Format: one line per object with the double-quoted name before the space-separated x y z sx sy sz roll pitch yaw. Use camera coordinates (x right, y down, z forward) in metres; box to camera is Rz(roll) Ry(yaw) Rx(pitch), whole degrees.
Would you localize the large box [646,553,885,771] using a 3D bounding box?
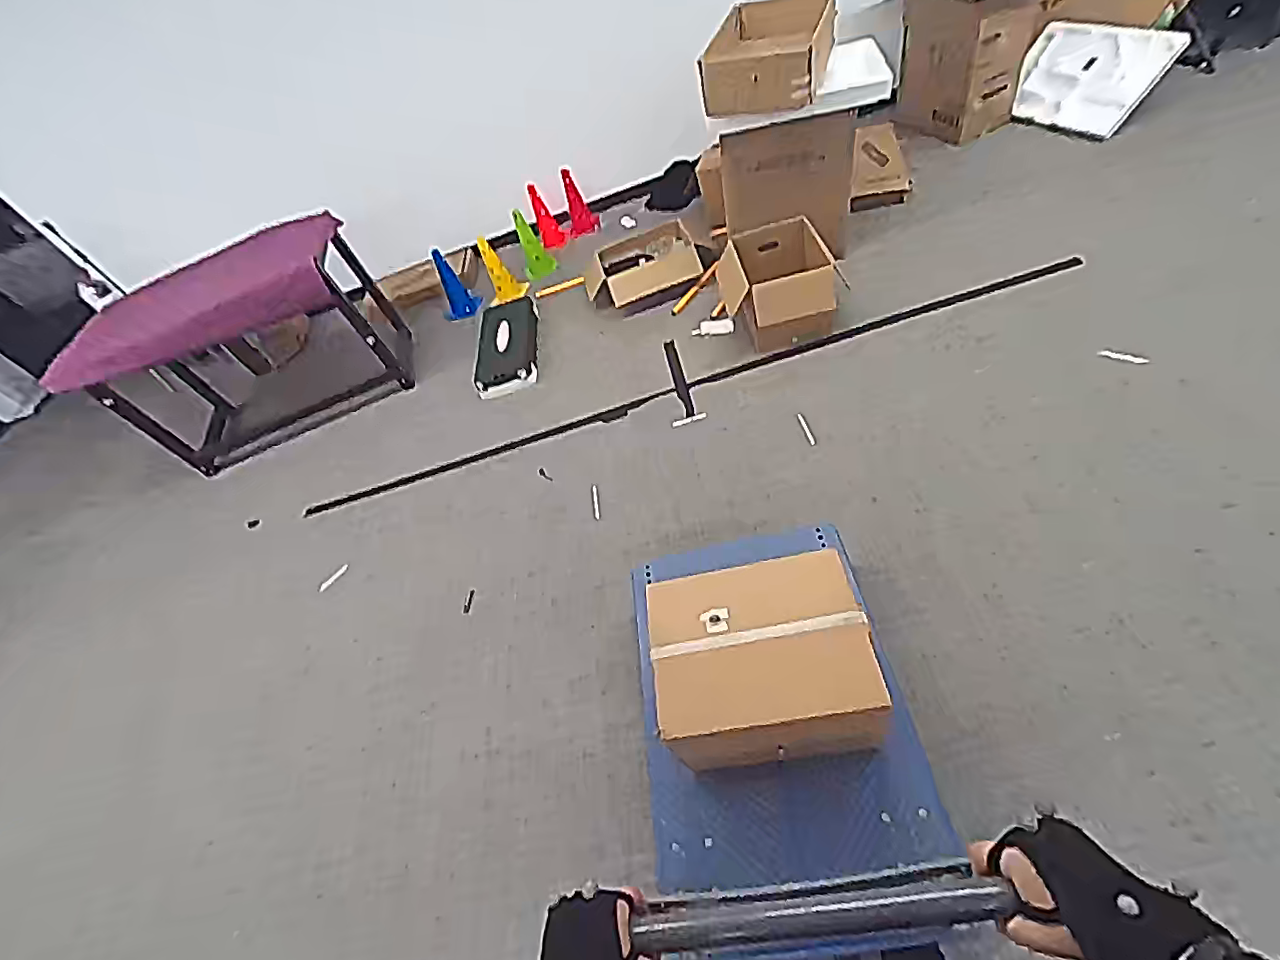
"large box" 0.258 0.400 1.154 0.408 0.320 0.320 -14 49 10
